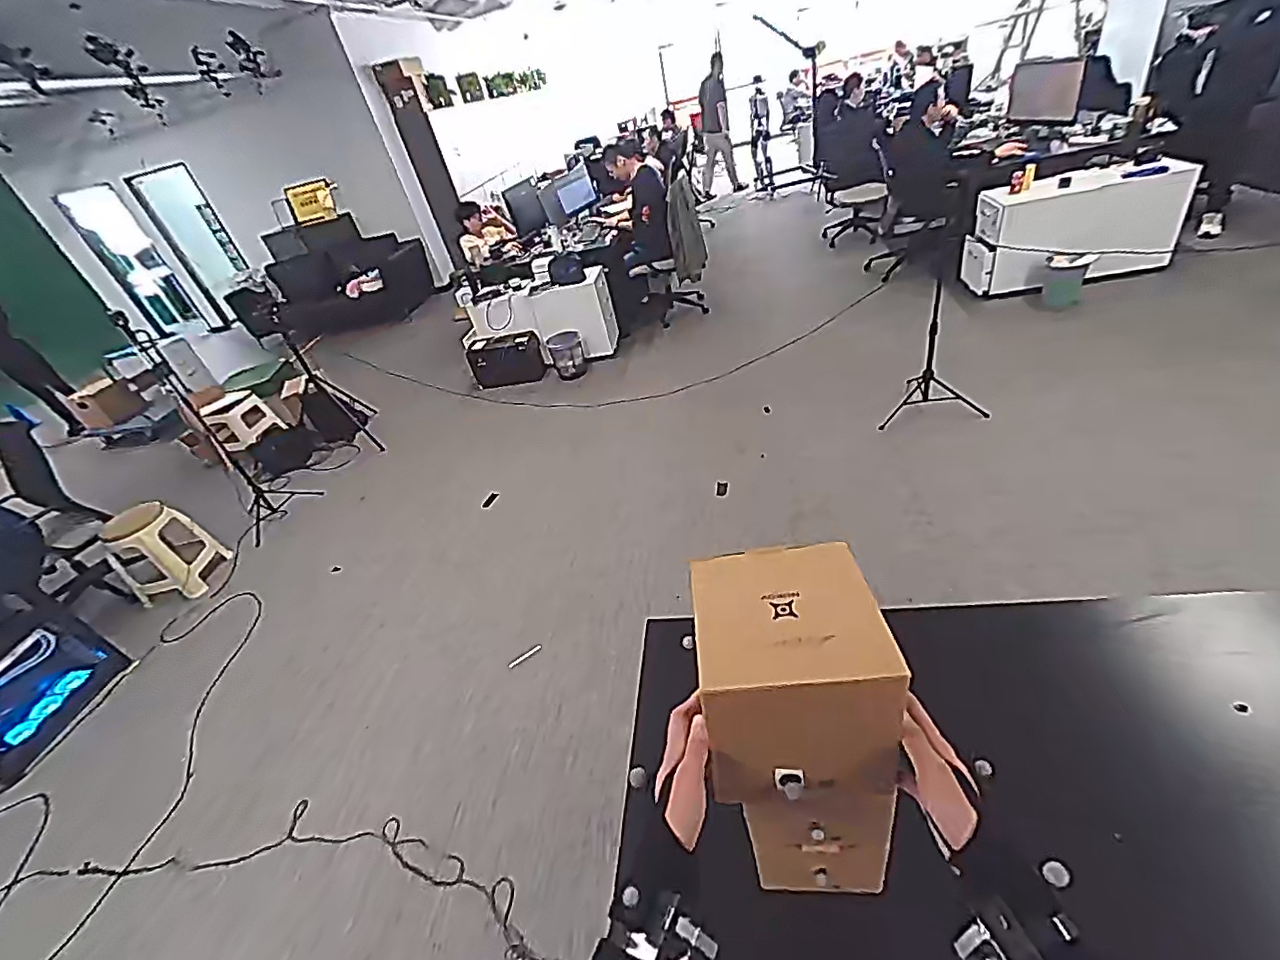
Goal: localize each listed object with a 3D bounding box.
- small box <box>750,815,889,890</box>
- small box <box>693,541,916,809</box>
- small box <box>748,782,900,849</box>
[{"bbox_3d":[0.246,0.459,0.773,0.168,0.176,0.179,-7,37,11],"label":"small box"},{"bbox_3d":[0.145,0.184,0.529,0.168,0.176,0.179,-8,29,6],"label":"small box"},{"bbox_3d":[0.211,0.328,0.678,0.168,0.176,0.179,-7,37,12],"label":"small box"}]
